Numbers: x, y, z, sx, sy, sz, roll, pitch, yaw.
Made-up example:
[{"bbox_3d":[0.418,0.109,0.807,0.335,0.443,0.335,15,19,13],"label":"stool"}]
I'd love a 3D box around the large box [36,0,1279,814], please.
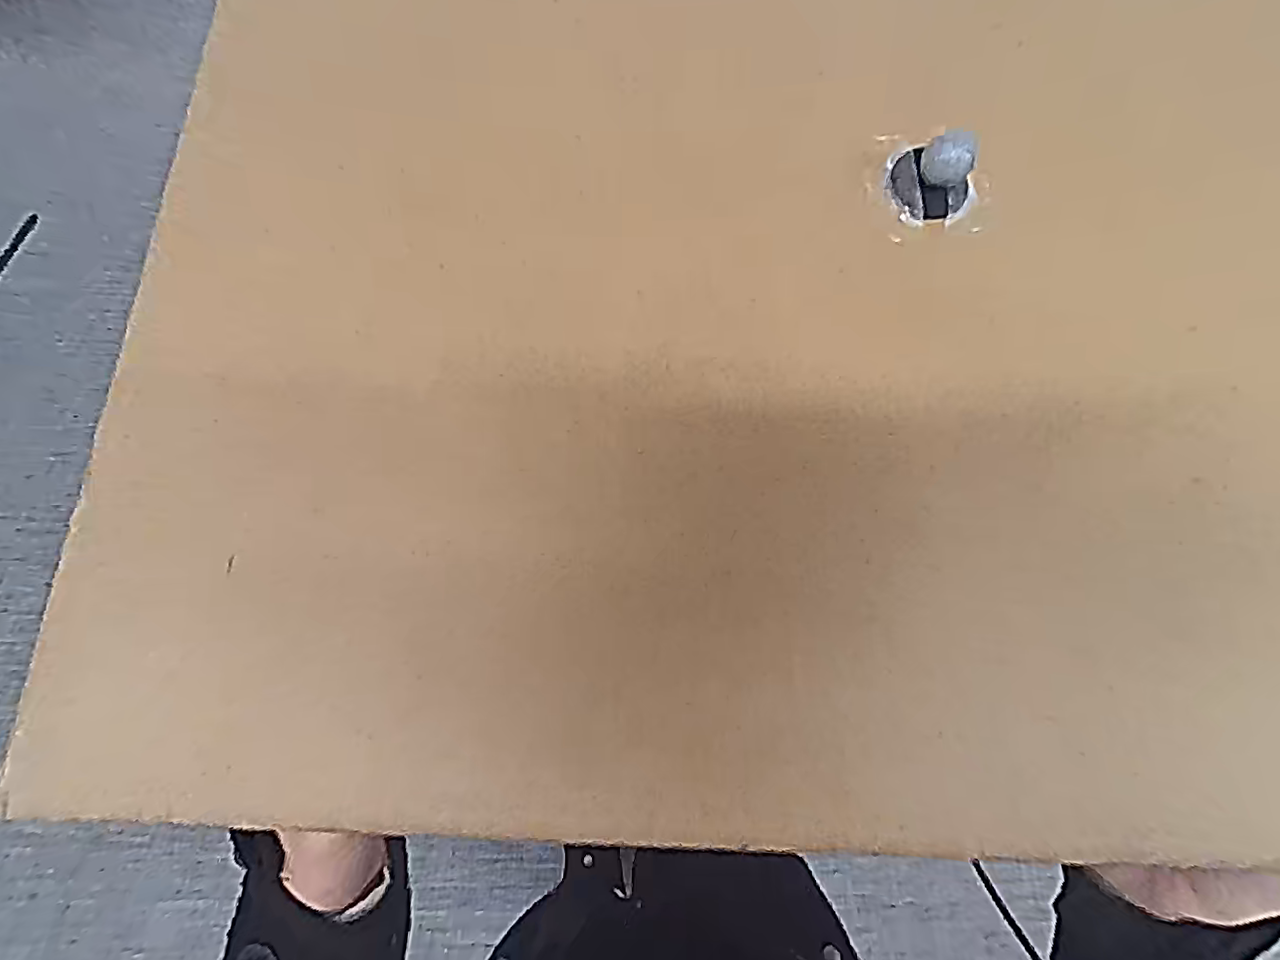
[{"bbox_3d":[0.064,-0.047,0.294,0.408,0.320,0.320,3,79,-1],"label":"large box"}]
